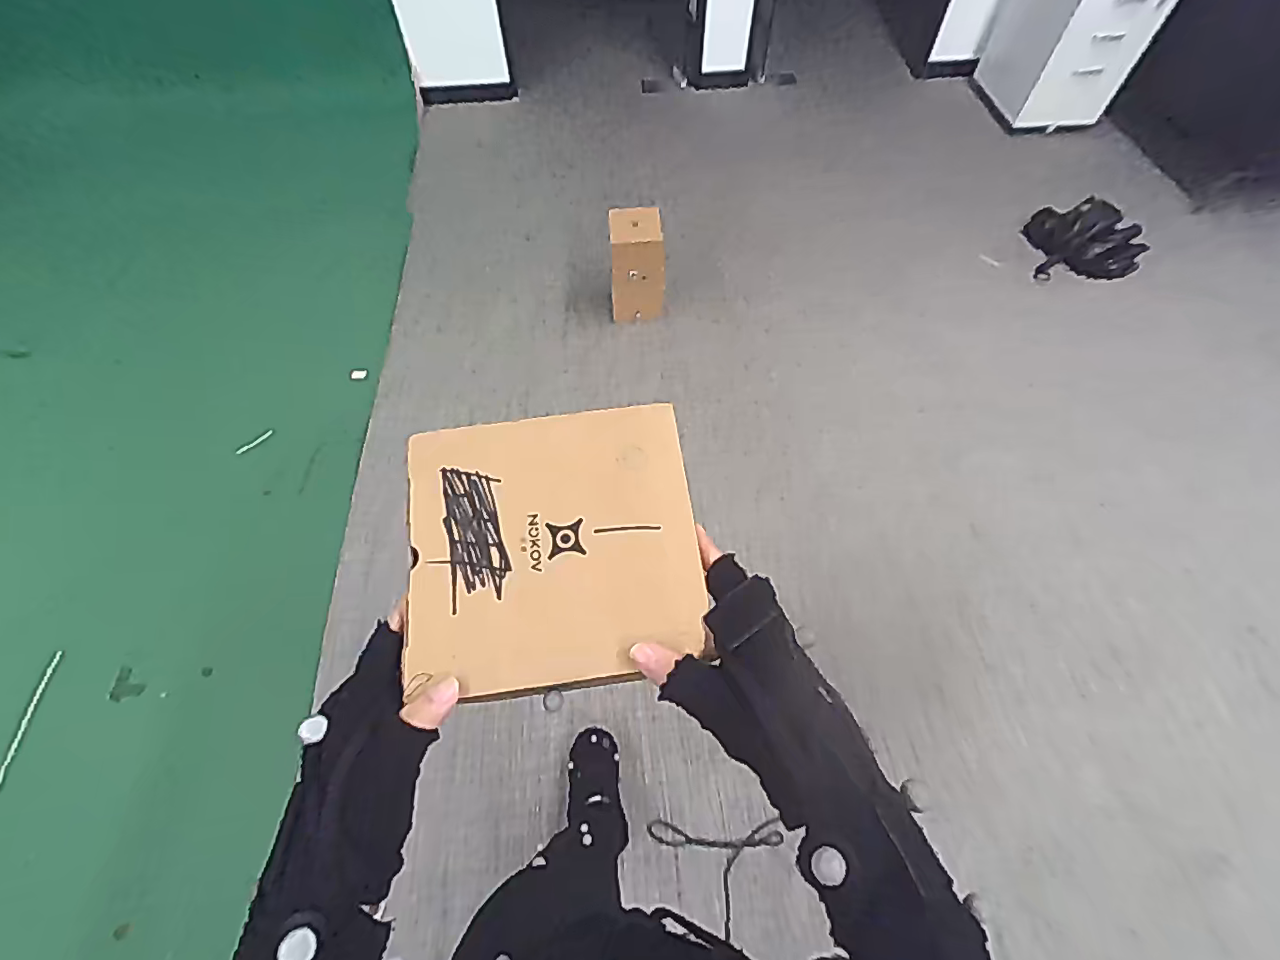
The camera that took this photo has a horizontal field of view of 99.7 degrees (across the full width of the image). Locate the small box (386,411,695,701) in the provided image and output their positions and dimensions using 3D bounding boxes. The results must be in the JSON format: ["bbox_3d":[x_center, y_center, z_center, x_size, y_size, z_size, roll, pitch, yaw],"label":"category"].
[{"bbox_3d":[-0.061,0.068,0.402,0.179,0.176,0.168,-7,68,-2],"label":"small box"}]

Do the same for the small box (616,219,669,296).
[{"bbox_3d":[0.007,-0.738,1.799,0.168,0.176,0.179,-5,59,1],"label":"small box"}]

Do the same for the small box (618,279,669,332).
[{"bbox_3d":[0.010,-0.650,1.937,0.179,0.176,0.168,-2,58,0],"label":"small box"}]
